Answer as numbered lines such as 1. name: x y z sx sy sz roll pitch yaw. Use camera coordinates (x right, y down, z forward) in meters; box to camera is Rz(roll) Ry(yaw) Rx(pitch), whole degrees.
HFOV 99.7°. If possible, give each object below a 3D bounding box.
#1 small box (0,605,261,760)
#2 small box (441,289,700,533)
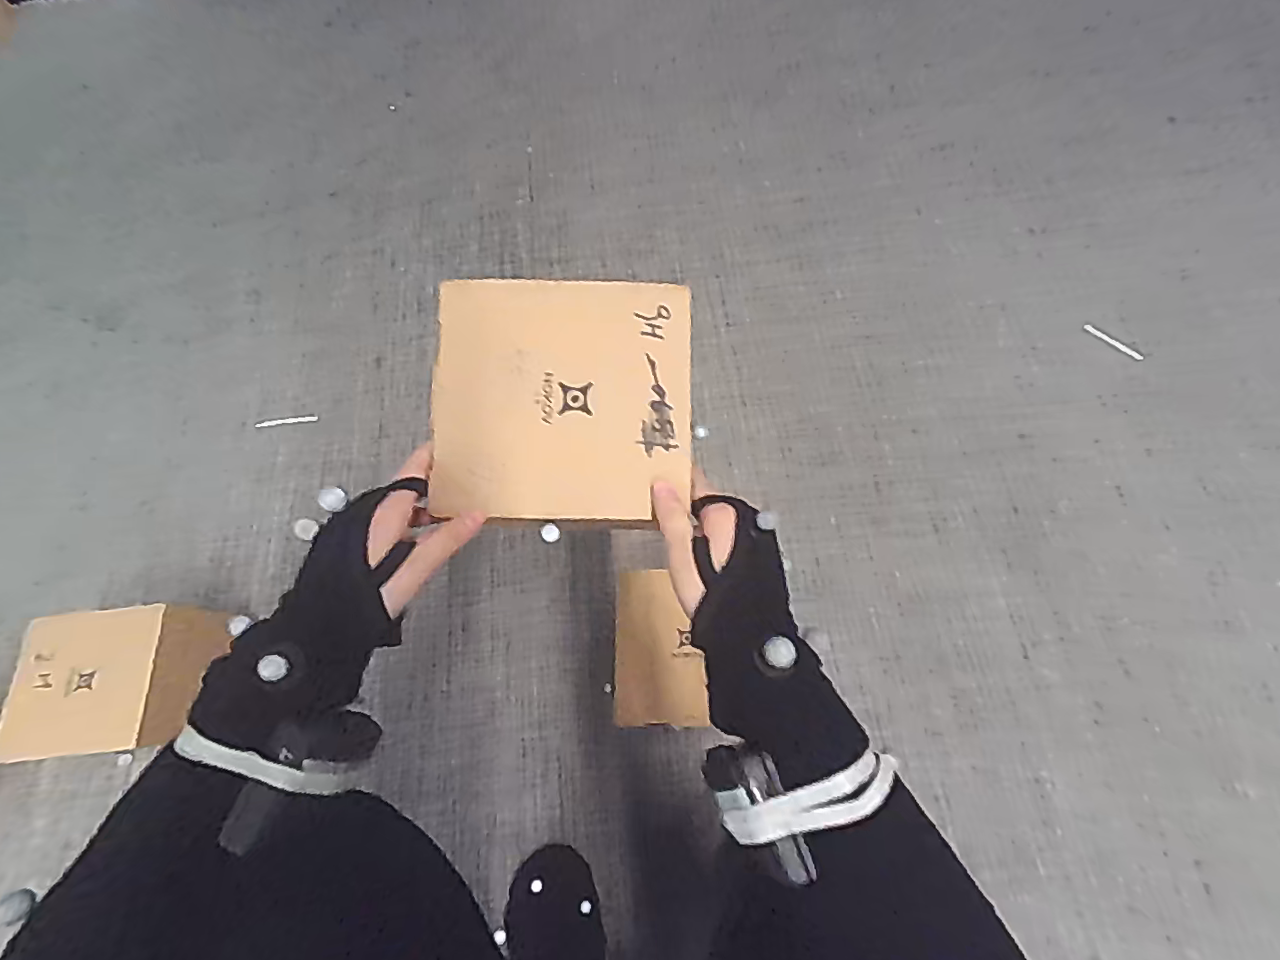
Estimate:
1. small box: -0.654 0.268 0.722 0.179 0.176 0.168 -6 67 1
2. small box: -0.045 -0.042 0.451 0.179 0.176 0.168 1 83 0
